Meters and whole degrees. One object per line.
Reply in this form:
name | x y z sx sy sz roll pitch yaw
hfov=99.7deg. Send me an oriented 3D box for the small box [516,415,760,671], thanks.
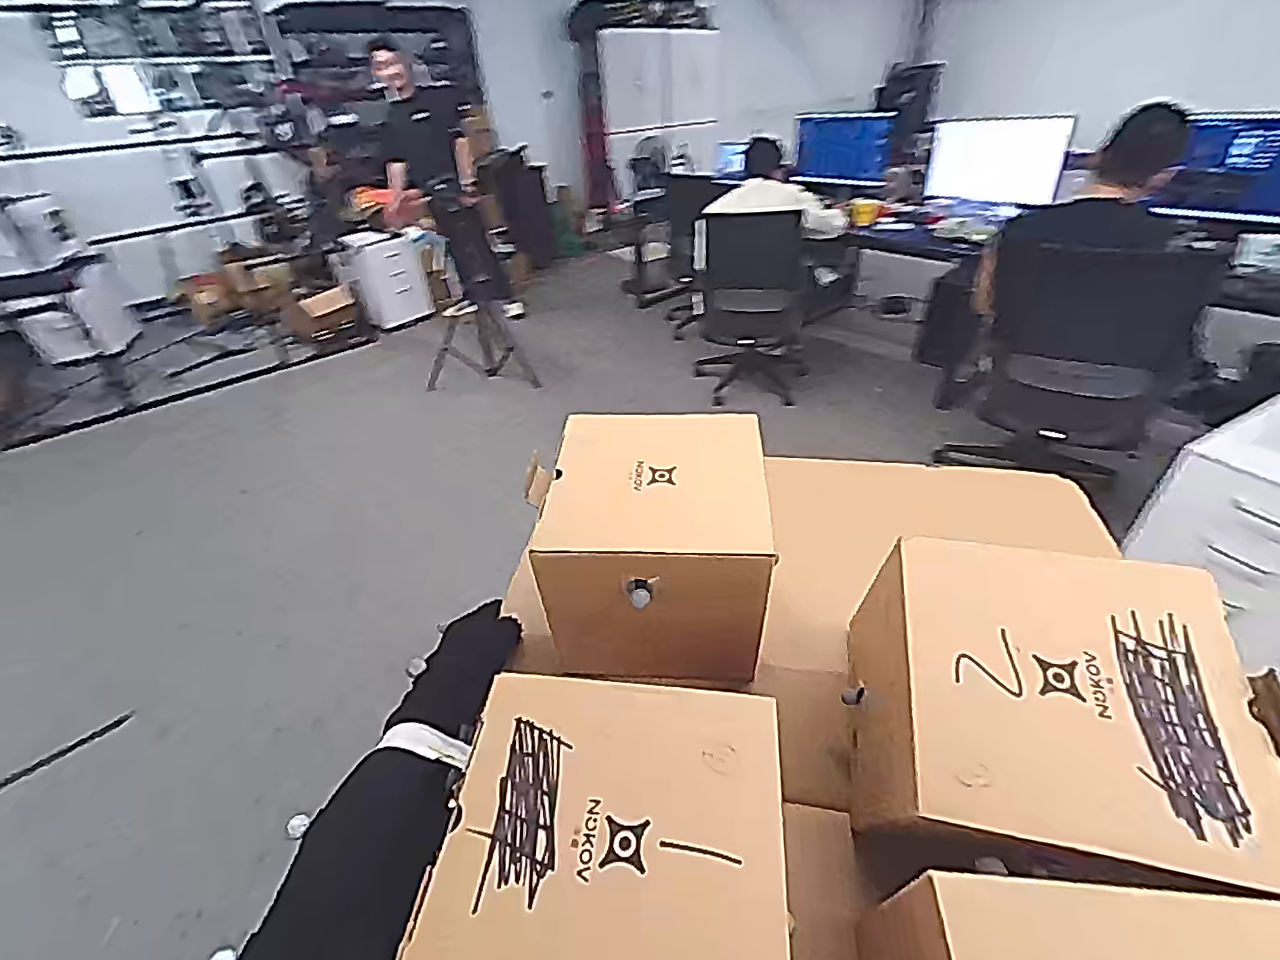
small box | 0.007 0.058 0.492 0.179 0.176 0.168 -1 42 5
